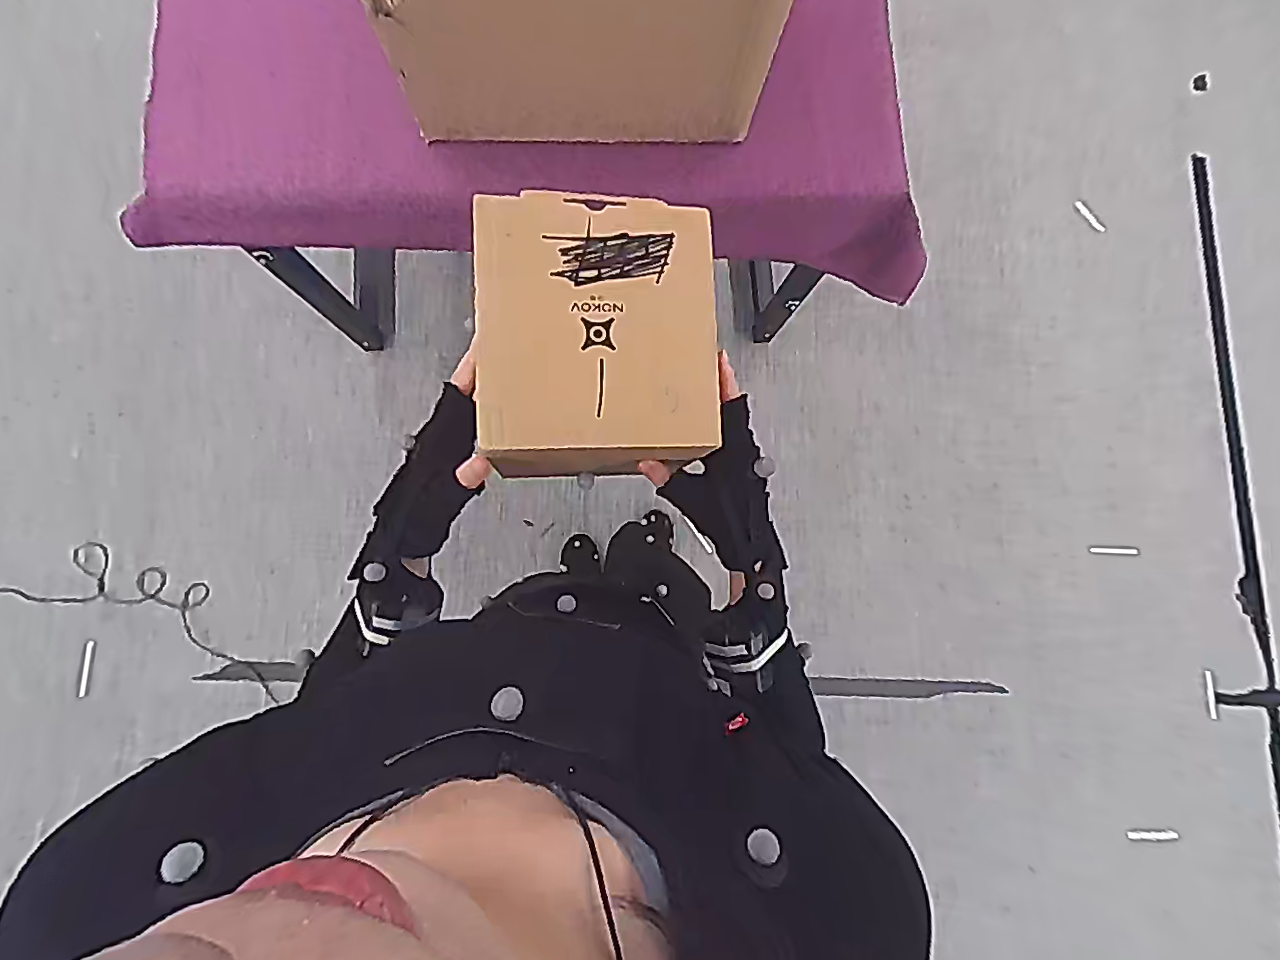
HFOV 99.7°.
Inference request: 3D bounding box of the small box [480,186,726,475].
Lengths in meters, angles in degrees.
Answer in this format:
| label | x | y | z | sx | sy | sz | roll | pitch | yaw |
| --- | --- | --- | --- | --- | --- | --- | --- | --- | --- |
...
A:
| label | x | y | z | sx | sy | sz | roll | pitch | yaw |
| --- | --- | --- | --- | --- | --- | --- | --- | --- | --- |
| small box | -0.037 | -0.104 | 0.444 | 0.168 | 0.176 | 0.179 | -2 | 83 | -9 |
